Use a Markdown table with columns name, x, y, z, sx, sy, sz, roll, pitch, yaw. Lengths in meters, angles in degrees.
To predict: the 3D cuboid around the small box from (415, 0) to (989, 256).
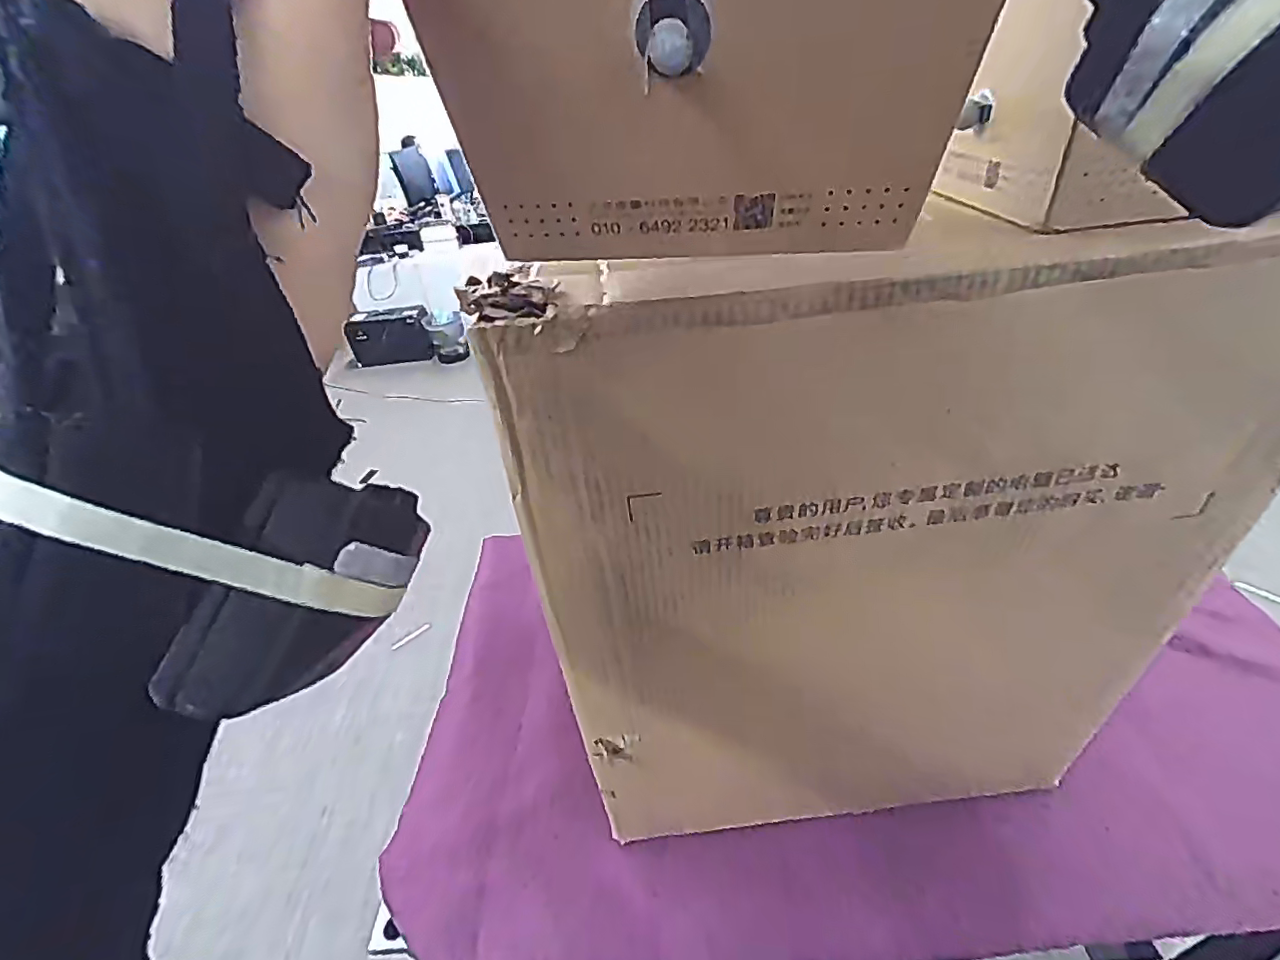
| name | x | y | z | sx | sy | sz | roll | pitch | yaw |
| --- | --- | --- | --- | --- | --- | --- | --- | --- | --- |
| small box | 0.023 | -0.200 | 0.191 | 0.168 | 0.176 | 0.179 | 1 | 62 | 7 |

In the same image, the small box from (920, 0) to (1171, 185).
| name | x | y | z | sx | sy | sz | roll | pitch | yaw |
| --- | --- | --- | --- | --- | --- | --- | --- | --- | --- |
| small box | 0.283 | -0.349 | 0.440 | 0.179 | 0.176 | 0.168 | -7 | 35 | 0 |
